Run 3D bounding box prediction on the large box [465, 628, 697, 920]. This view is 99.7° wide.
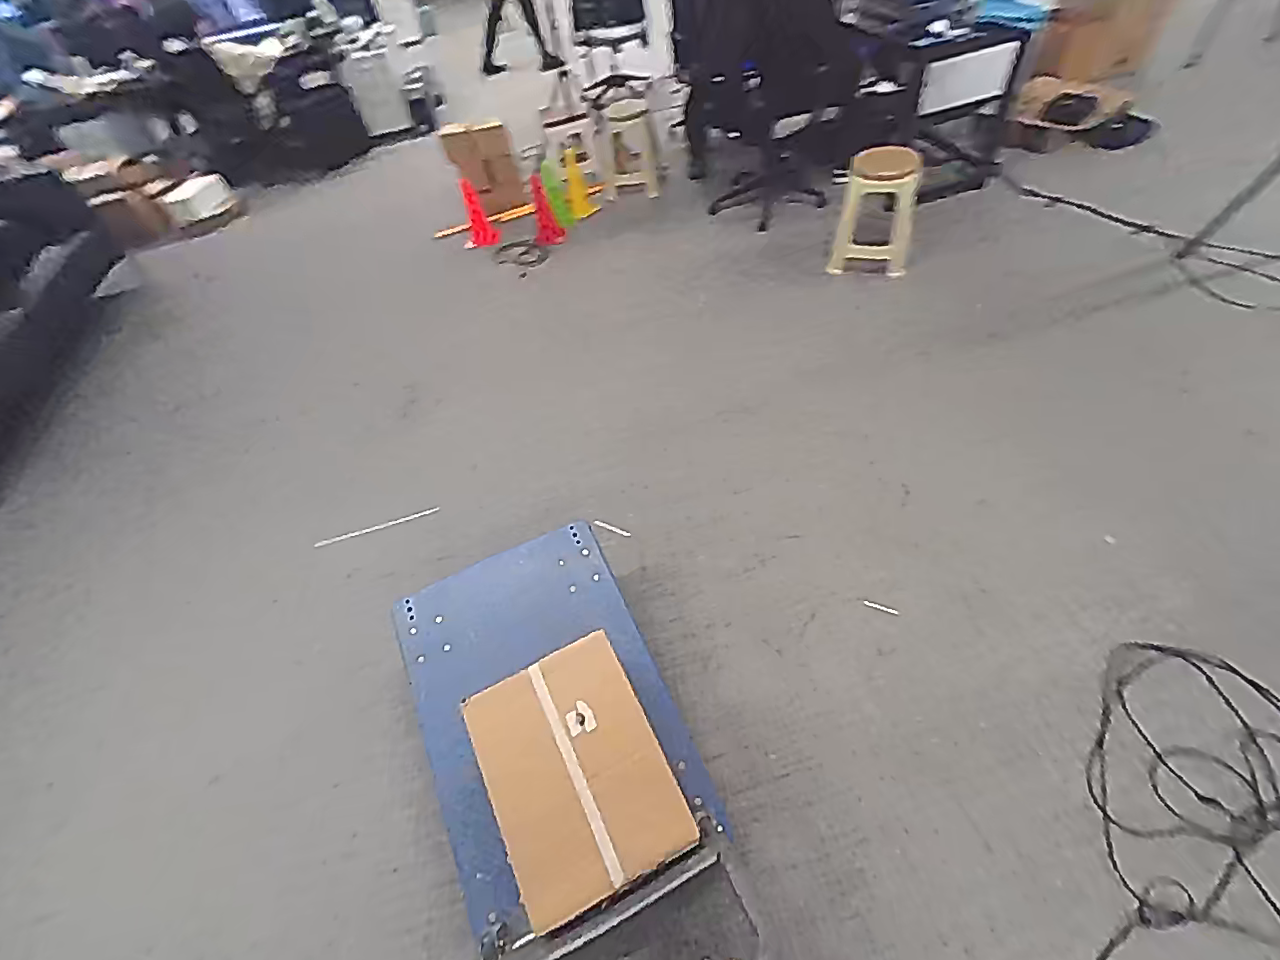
[{"bbox_3d":[-0.113,0.594,1.150,0.320,0.320,0.408,-26,64,-11],"label":"large box"}]
